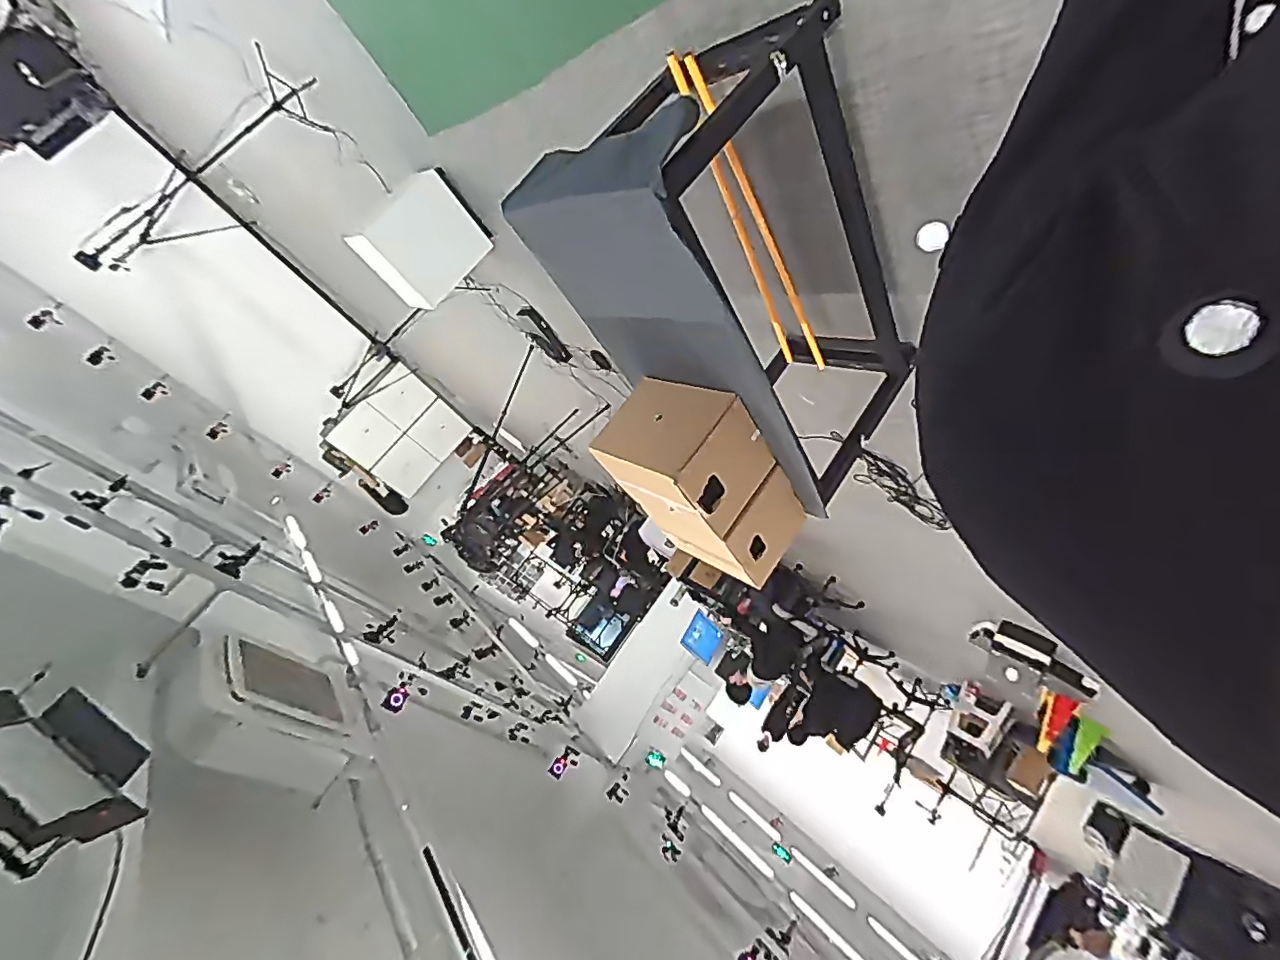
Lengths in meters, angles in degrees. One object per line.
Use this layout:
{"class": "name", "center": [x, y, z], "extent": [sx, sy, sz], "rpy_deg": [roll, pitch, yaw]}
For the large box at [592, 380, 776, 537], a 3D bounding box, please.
{"class": "large box", "center": [0.135, -0.083, 1.669], "extent": [0.408, 0.320, 0.320], "rpy_deg": [20, 158, 48]}
